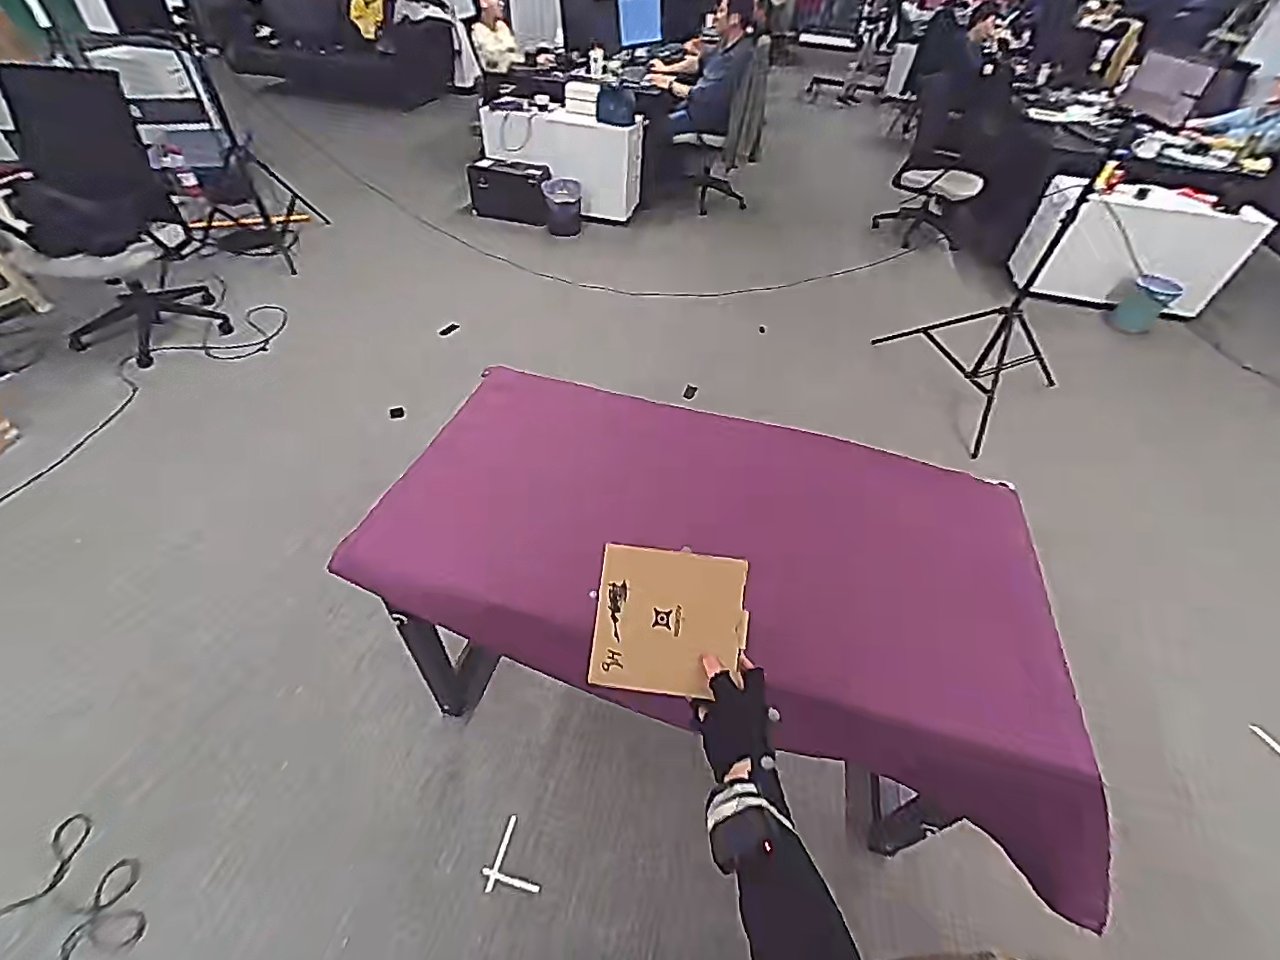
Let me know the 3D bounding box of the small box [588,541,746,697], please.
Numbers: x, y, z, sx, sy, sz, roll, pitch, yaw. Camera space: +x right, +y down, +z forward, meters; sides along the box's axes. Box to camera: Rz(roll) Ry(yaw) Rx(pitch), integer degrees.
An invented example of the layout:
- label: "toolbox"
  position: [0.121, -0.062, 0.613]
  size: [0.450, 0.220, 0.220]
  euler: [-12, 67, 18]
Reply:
- label: "small box"
  position: [0.035, 0.181, 0.723]
  size: [0.179, 0.176, 0.168]
  euler: [6, 77, 2]
